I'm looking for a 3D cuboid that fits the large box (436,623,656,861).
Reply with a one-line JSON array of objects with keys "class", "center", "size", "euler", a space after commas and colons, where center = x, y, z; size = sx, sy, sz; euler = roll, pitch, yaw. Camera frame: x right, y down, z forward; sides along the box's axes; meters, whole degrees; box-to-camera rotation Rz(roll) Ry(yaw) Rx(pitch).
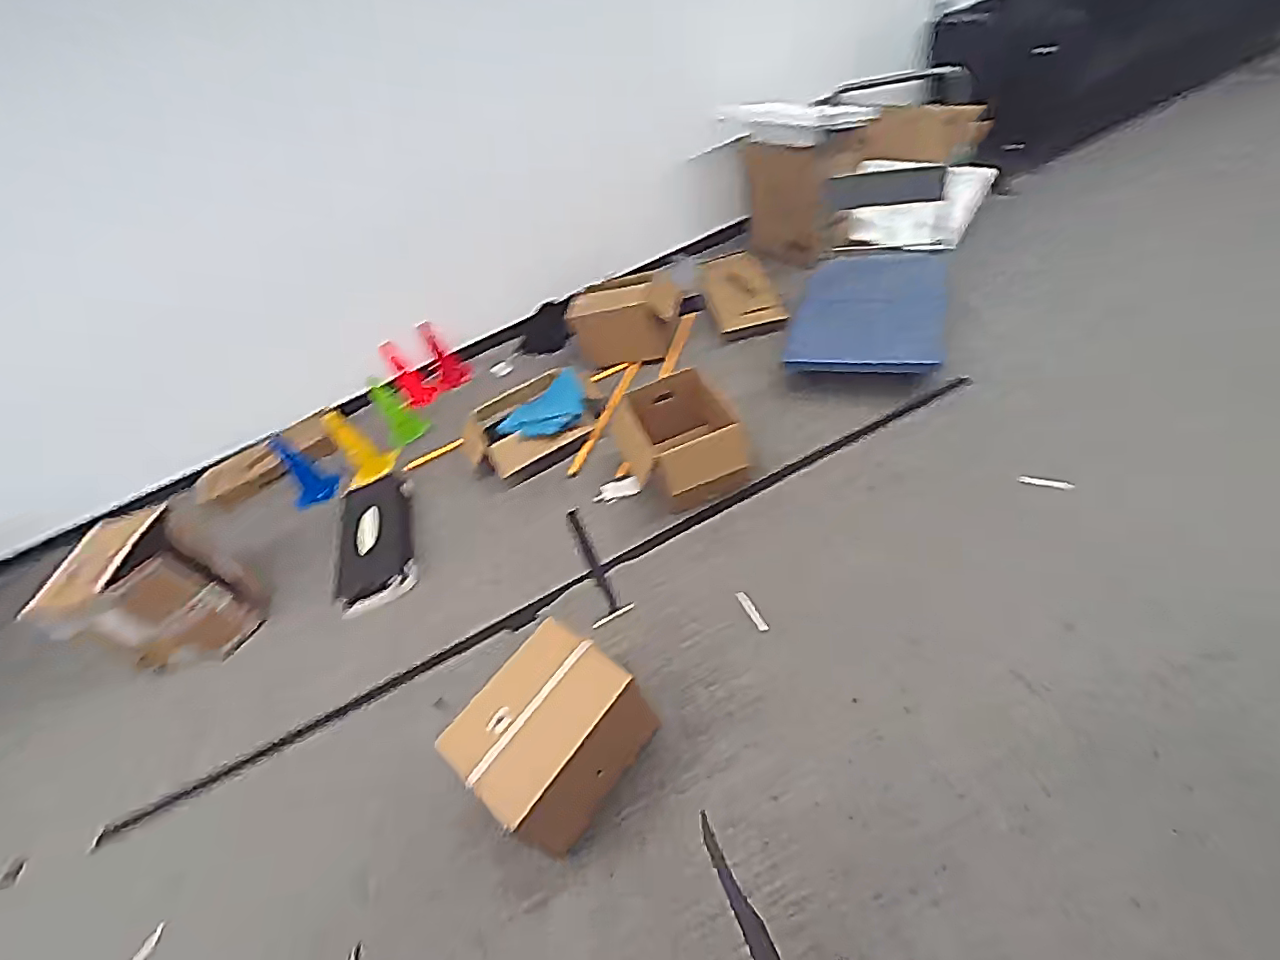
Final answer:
[{"class": "large box", "center": [-0.218, 0.659, 1.388], "size": [0.320, 0.320, 0.408], "euler": [22, 59, 36]}]
